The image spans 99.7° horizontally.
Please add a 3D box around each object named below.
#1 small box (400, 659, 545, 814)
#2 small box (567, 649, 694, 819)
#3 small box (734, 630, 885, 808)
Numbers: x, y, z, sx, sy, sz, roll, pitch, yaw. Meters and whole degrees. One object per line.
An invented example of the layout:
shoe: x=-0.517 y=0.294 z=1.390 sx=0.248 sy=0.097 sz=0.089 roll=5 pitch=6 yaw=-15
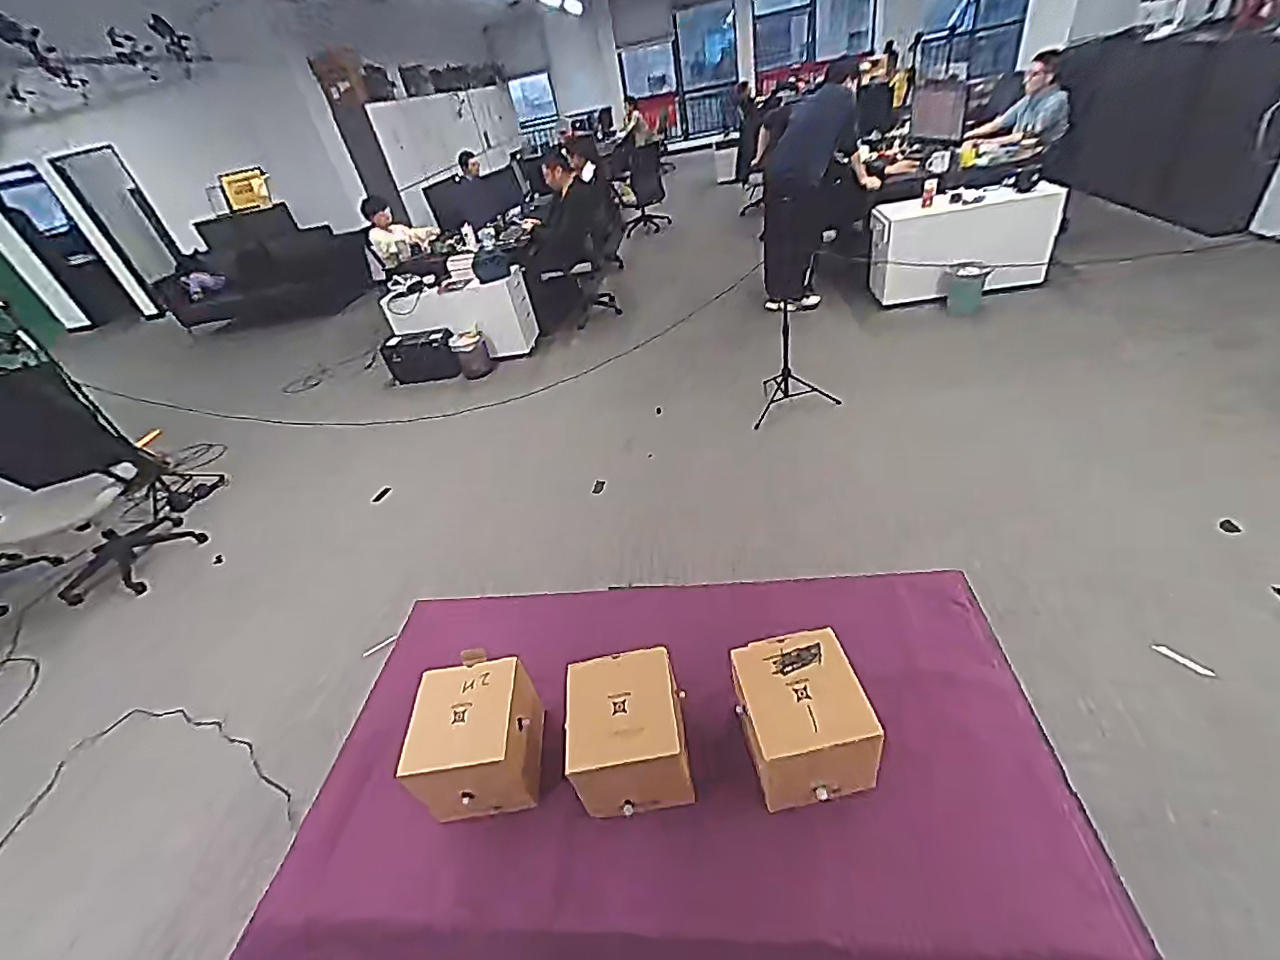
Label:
small box: x=-0.263 y=0.430 z=0.899 sx=0.168 sy=0.176 sz=0.179 roll=-10 pitch=37 yaw=3
small box: x=-0.014 y=0.403 z=0.863 sx=0.168 sy=0.176 sz=0.179 roll=-11 pitch=37 yaw=3
small box: x=0.249 y=0.365 z=0.831 sx=0.168 sy=0.176 sz=0.179 roll=-13 pitch=37 yaw=0
